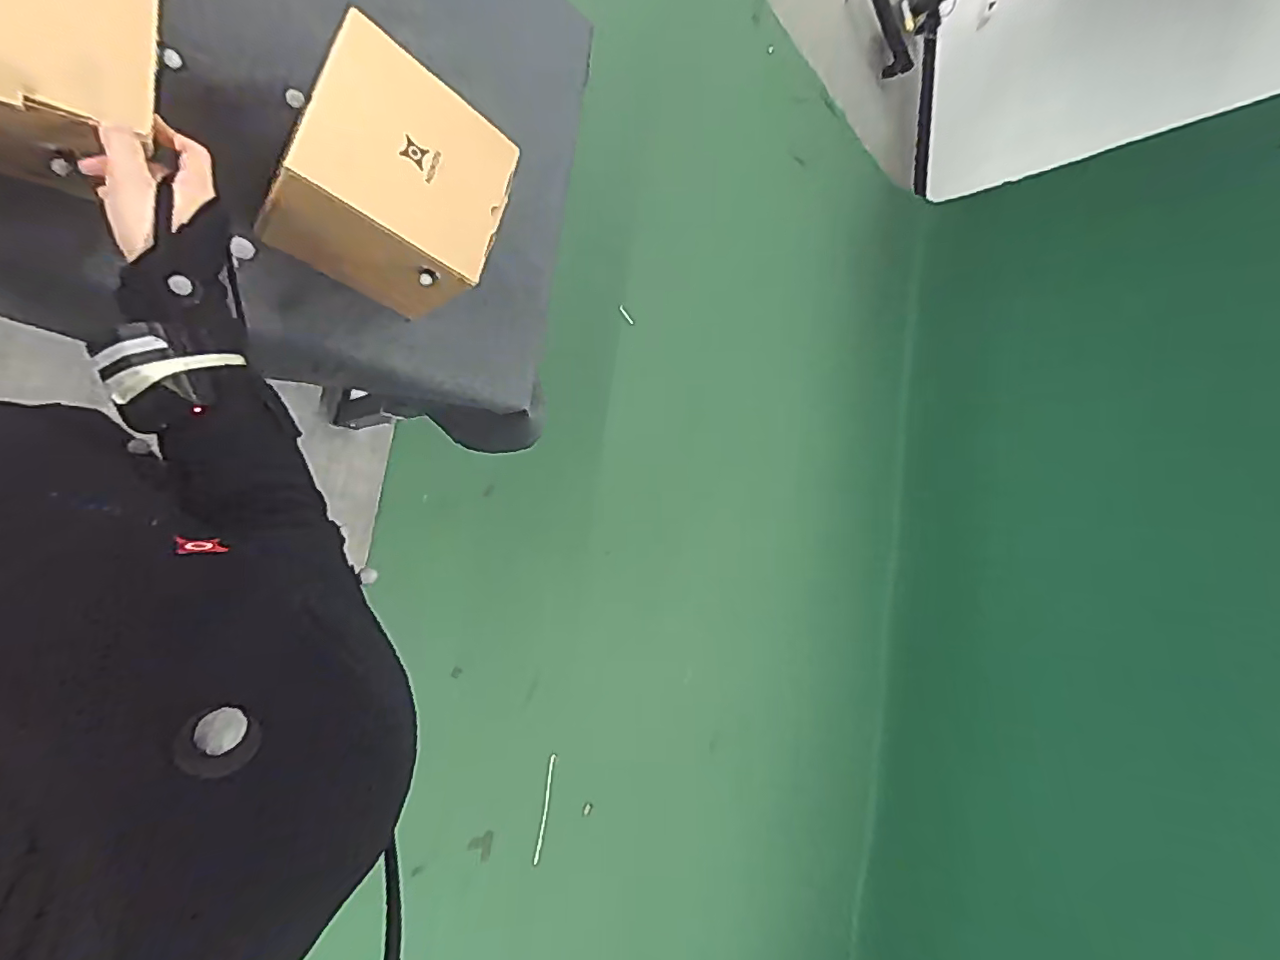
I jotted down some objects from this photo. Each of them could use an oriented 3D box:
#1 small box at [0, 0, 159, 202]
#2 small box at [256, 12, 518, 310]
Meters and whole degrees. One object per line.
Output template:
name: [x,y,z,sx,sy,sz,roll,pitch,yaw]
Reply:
small box: [-0.443,-0.323,0.369,0.168,0.176,0.179,1,92,-46]
small box: [-0.260,-0.298,0.556,0.179,0.176,0.168,24,73,-42]
